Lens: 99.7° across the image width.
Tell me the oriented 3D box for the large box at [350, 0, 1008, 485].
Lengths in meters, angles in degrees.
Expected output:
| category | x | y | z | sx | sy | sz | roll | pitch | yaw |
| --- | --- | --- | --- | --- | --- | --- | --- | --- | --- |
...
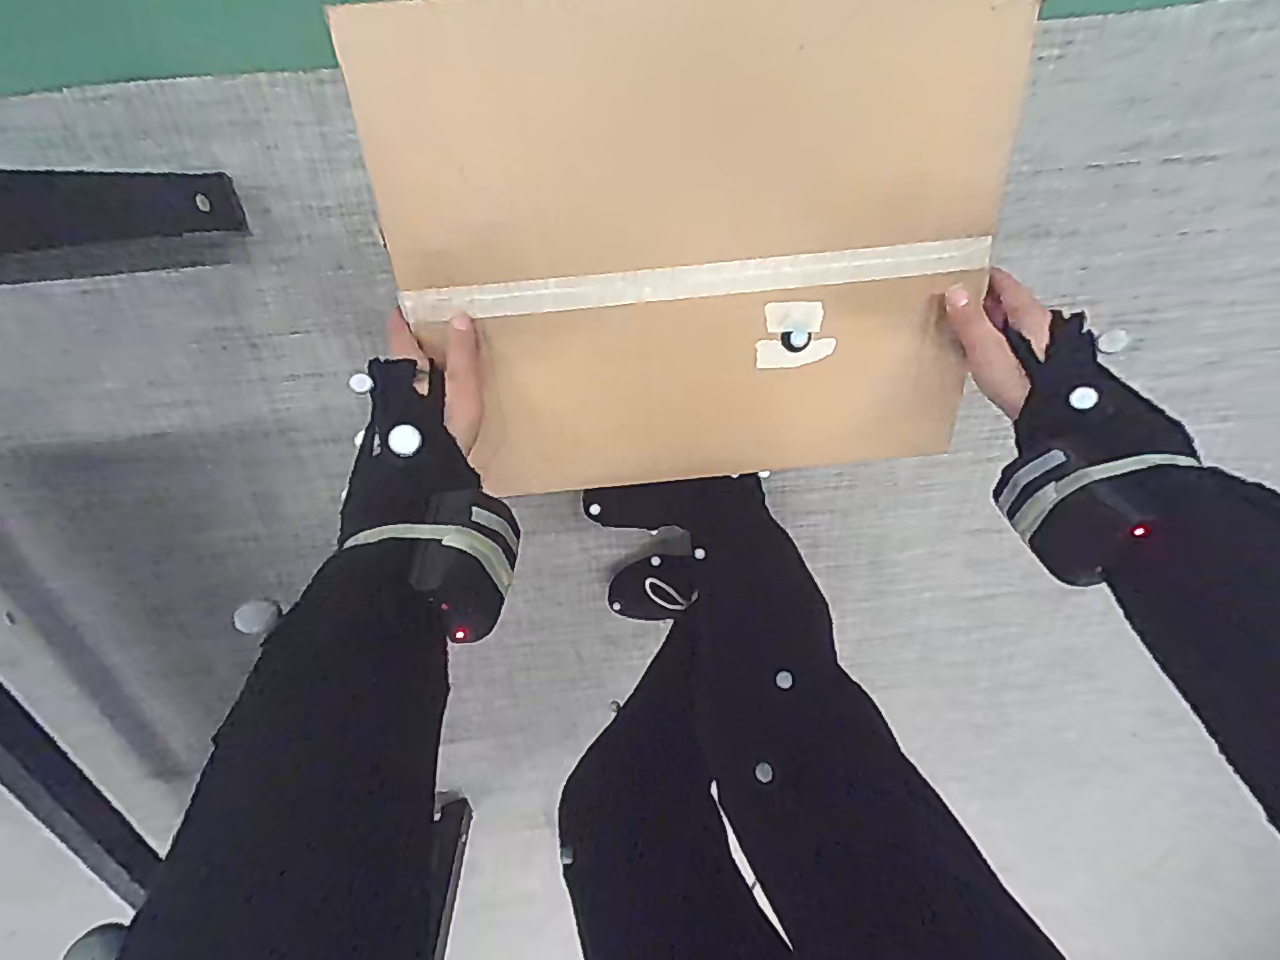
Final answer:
| category | x | y | z | sx | sy | sz | roll | pitch | yaw |
| --- | --- | --- | --- | --- | --- | --- | --- | --- | --- |
| large box | 0.028 | -0.220 | 0.515 | 0.408 | 0.320 | 0.320 | -6 | 118 | -2 |
